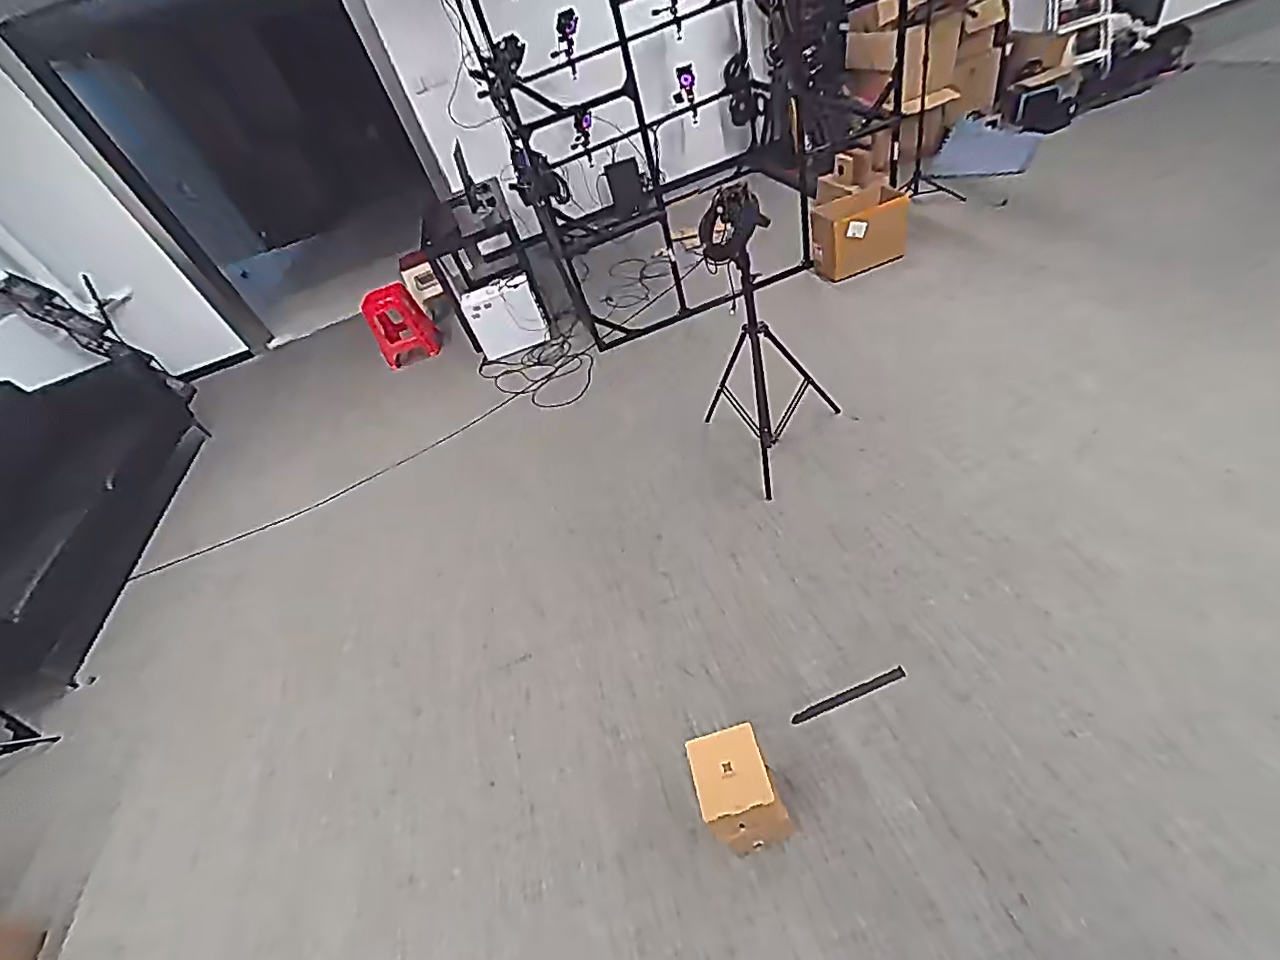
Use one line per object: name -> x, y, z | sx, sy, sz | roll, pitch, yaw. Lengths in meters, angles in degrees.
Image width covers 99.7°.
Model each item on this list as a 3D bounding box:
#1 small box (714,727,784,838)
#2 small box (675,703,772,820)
small box -> 0.248, 0.763, 1.361 | 0.168, 0.176, 0.179 | -21, 43, 1
small box -> 0.194, 0.654, 1.254 | 0.168, 0.176, 0.179 | -19, 44, 3
